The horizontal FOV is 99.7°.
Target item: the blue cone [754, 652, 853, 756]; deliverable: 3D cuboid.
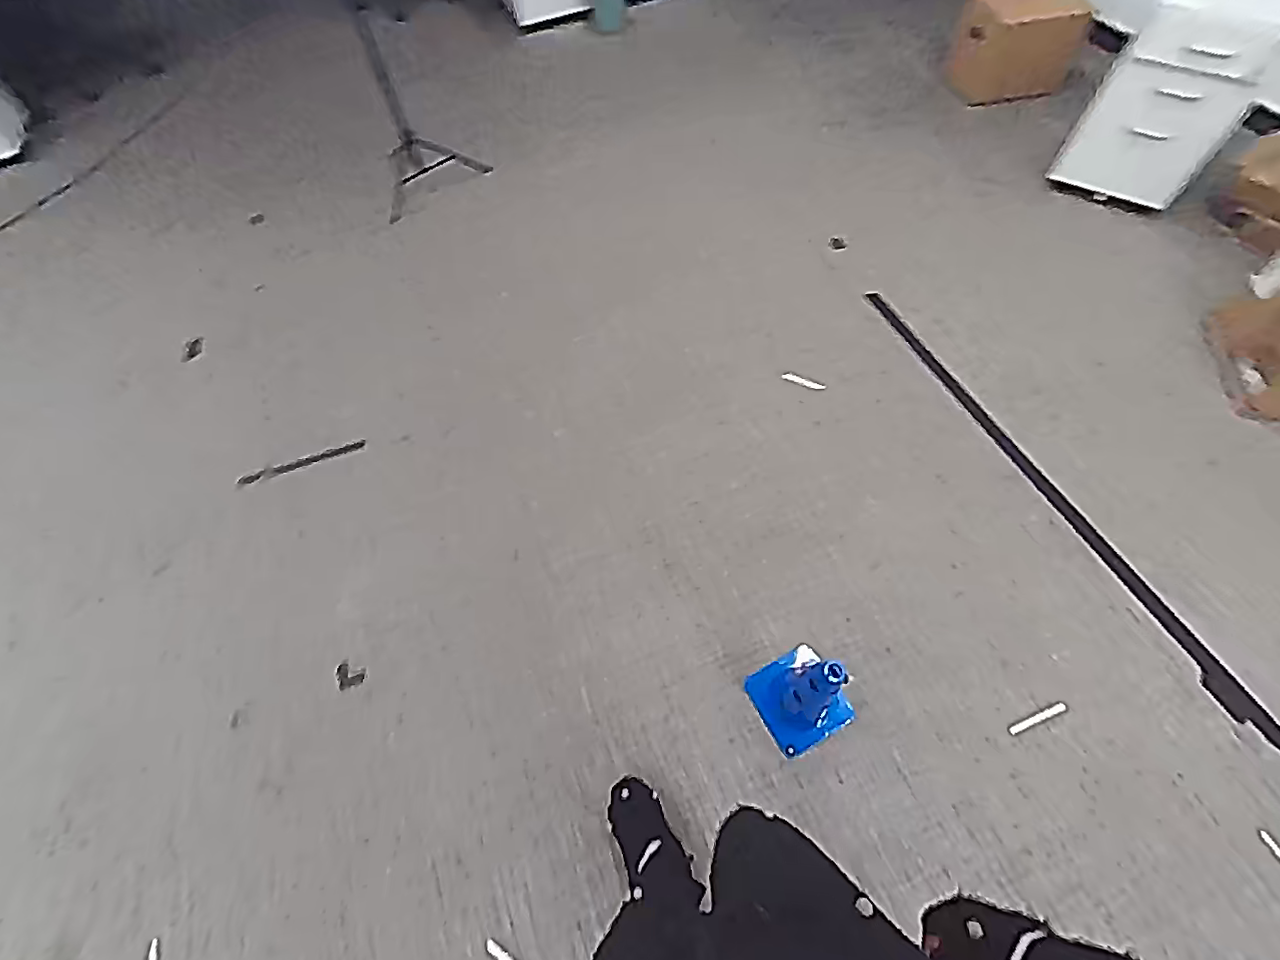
[{"bbox_3d":[0.377,0.446,1.148,0.193,0.380,0.192,-26,62,-10],"label":"blue cone"}]
